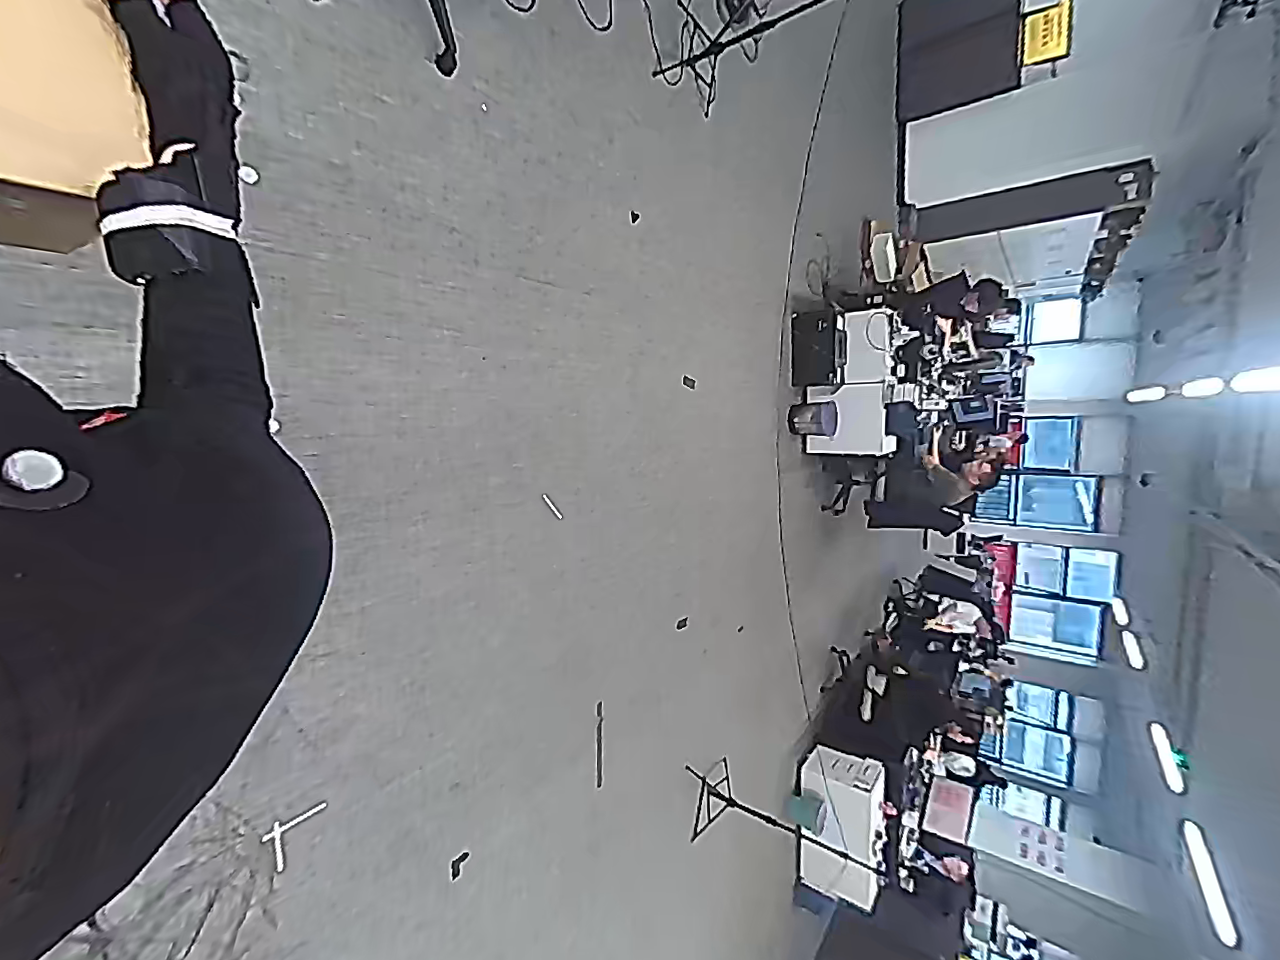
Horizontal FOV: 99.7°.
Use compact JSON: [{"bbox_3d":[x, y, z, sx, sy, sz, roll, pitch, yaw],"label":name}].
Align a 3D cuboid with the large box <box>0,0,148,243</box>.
[{"bbox_3d":[-0.608,-0.354,0.310,0.408,0.320,0.320,-12,109,-54],"label":"large box"}]
